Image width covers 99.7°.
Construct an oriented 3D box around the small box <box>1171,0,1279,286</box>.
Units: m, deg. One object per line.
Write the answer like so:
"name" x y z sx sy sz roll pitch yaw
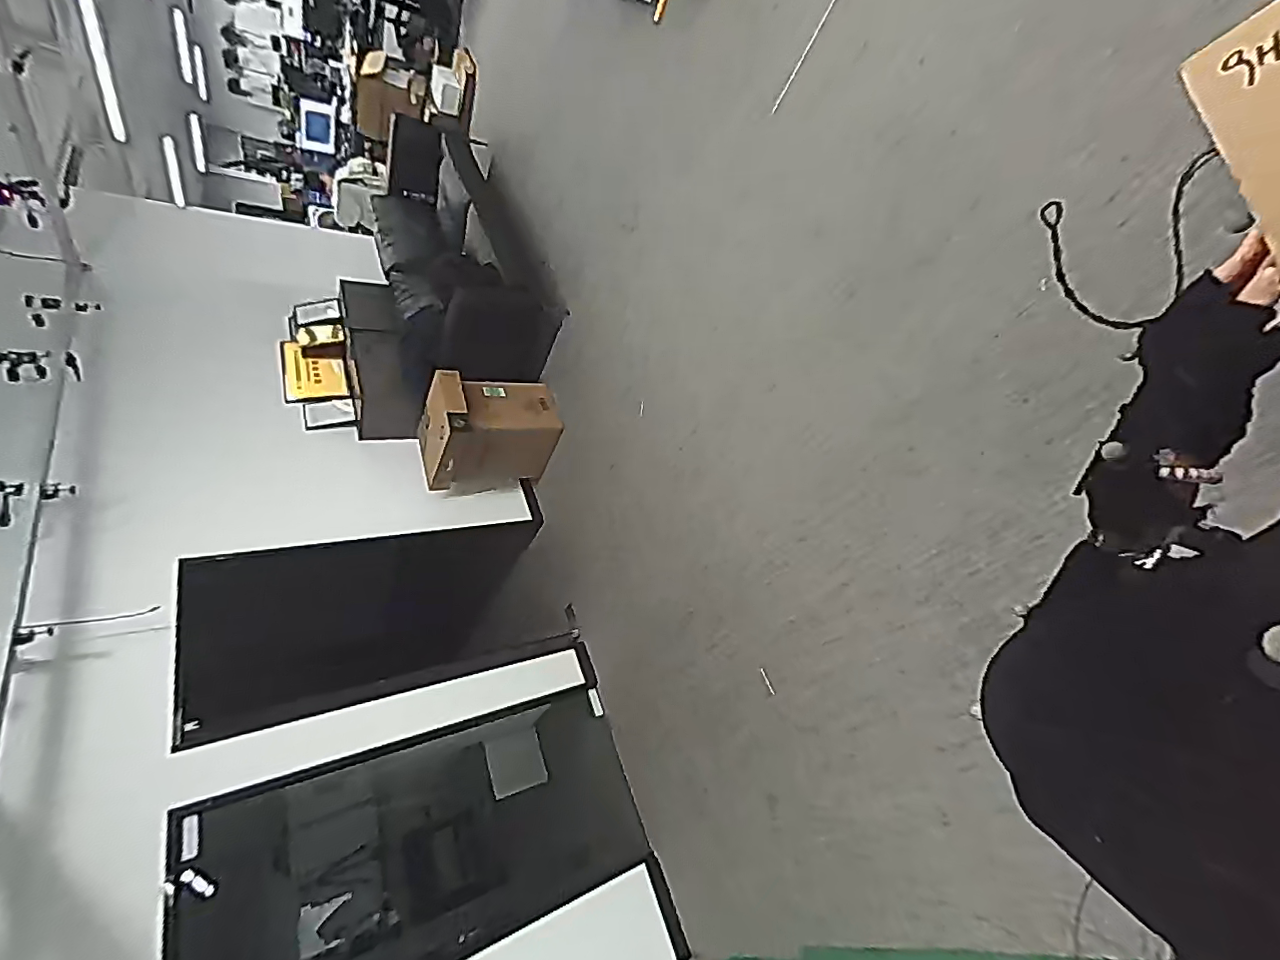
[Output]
"small box" 0.475 -0.225 0.323 0.168 0.176 0.179 -28 75 51
